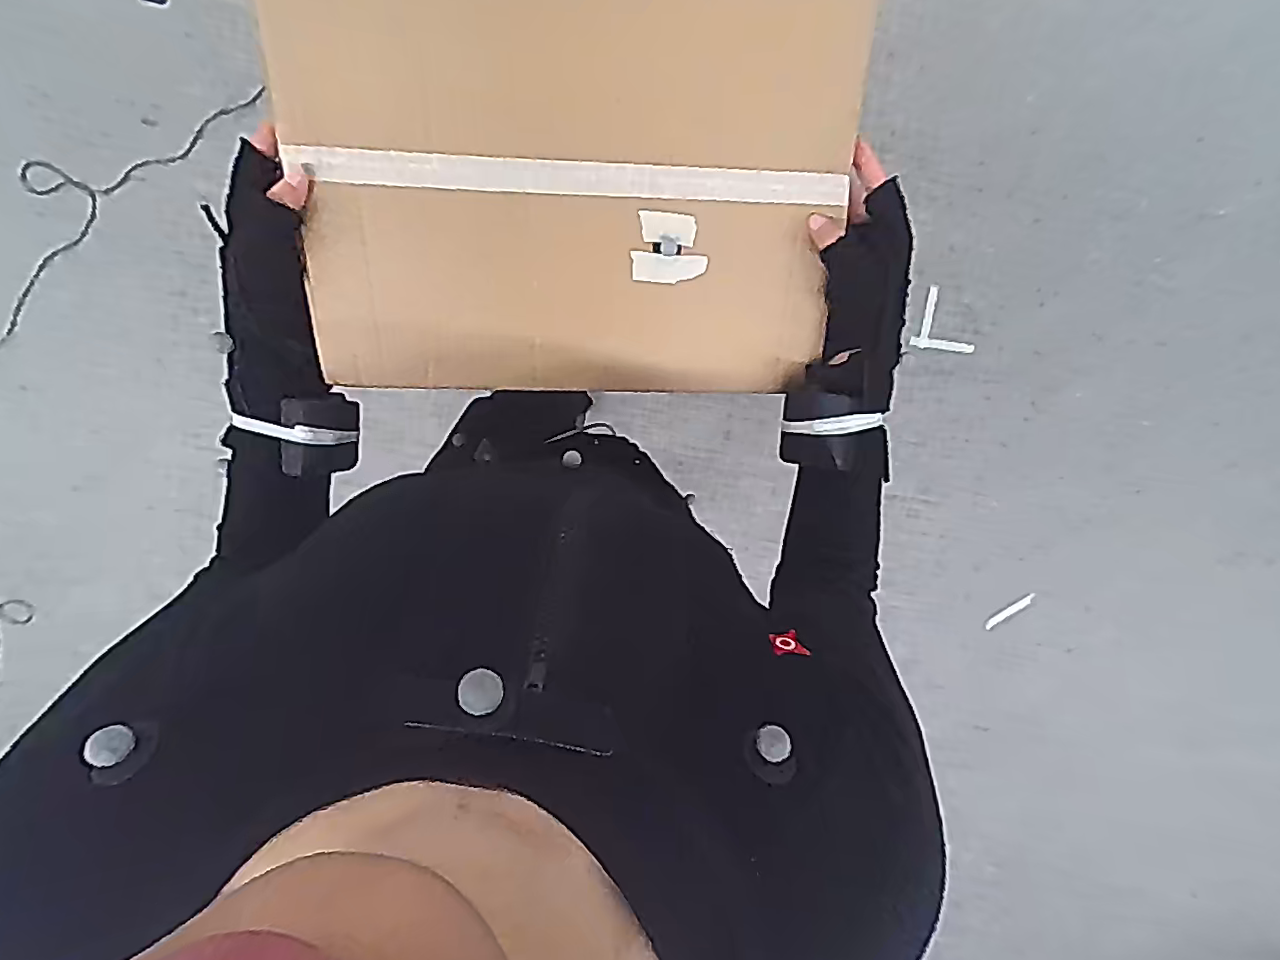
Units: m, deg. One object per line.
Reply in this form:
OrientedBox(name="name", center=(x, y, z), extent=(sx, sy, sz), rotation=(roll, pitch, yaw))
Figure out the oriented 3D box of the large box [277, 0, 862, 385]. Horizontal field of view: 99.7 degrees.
OrientedBox(name="large box", center=(-0.059, -0.283, 0.544), extent=(0.408, 0.320, 0.320), rotation=(-1, 113, -6))
